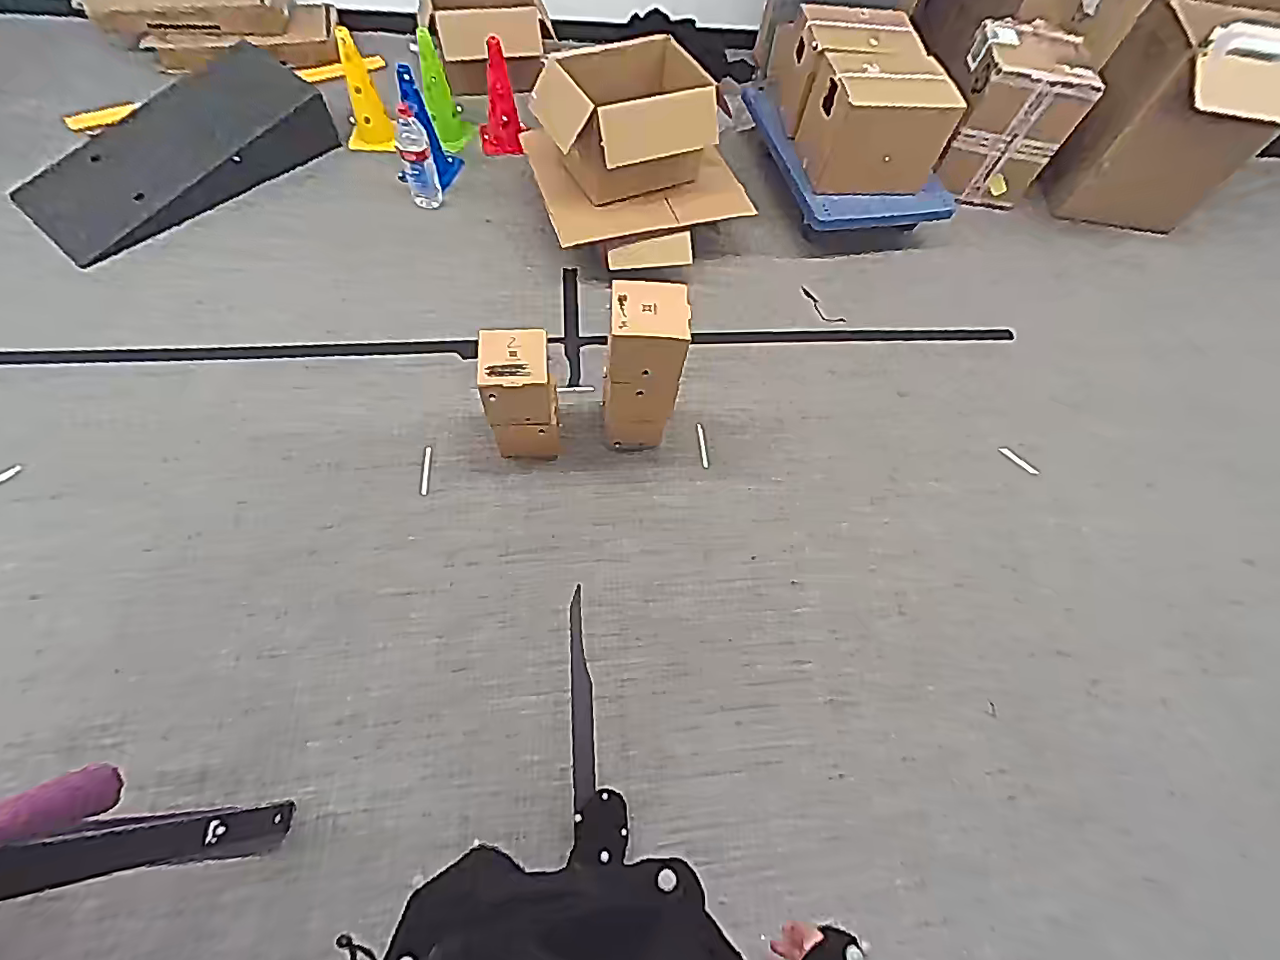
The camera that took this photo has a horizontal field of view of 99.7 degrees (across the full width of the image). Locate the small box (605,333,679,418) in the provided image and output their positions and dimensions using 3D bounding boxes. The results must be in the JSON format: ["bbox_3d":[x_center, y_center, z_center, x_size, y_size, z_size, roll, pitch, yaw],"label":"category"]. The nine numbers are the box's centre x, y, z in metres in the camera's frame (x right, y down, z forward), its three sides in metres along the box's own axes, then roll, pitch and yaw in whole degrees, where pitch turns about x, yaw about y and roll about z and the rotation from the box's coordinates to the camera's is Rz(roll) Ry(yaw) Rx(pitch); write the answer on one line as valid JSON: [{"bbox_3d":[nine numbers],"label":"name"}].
[{"bbox_3d":[-0.002,-0.275,1.418,0.179,0.176,0.168,-1,64,-7],"label":"small box"}]

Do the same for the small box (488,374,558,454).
[{"bbox_3d":[-0.323,-0.183,1.524,0.179,0.176,0.168,-2,63,-7],"label":"small box"}]

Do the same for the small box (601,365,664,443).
[{"bbox_3d":[-0.024,-0.216,1.571,0.168,0.176,0.179,-3,63,-8],"label":"small box"}]

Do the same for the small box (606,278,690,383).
[{"bbox_3d":[0.014,-0.345,1.271,0.179,0.176,0.168,3,63,-6],"label":"small box"}]
